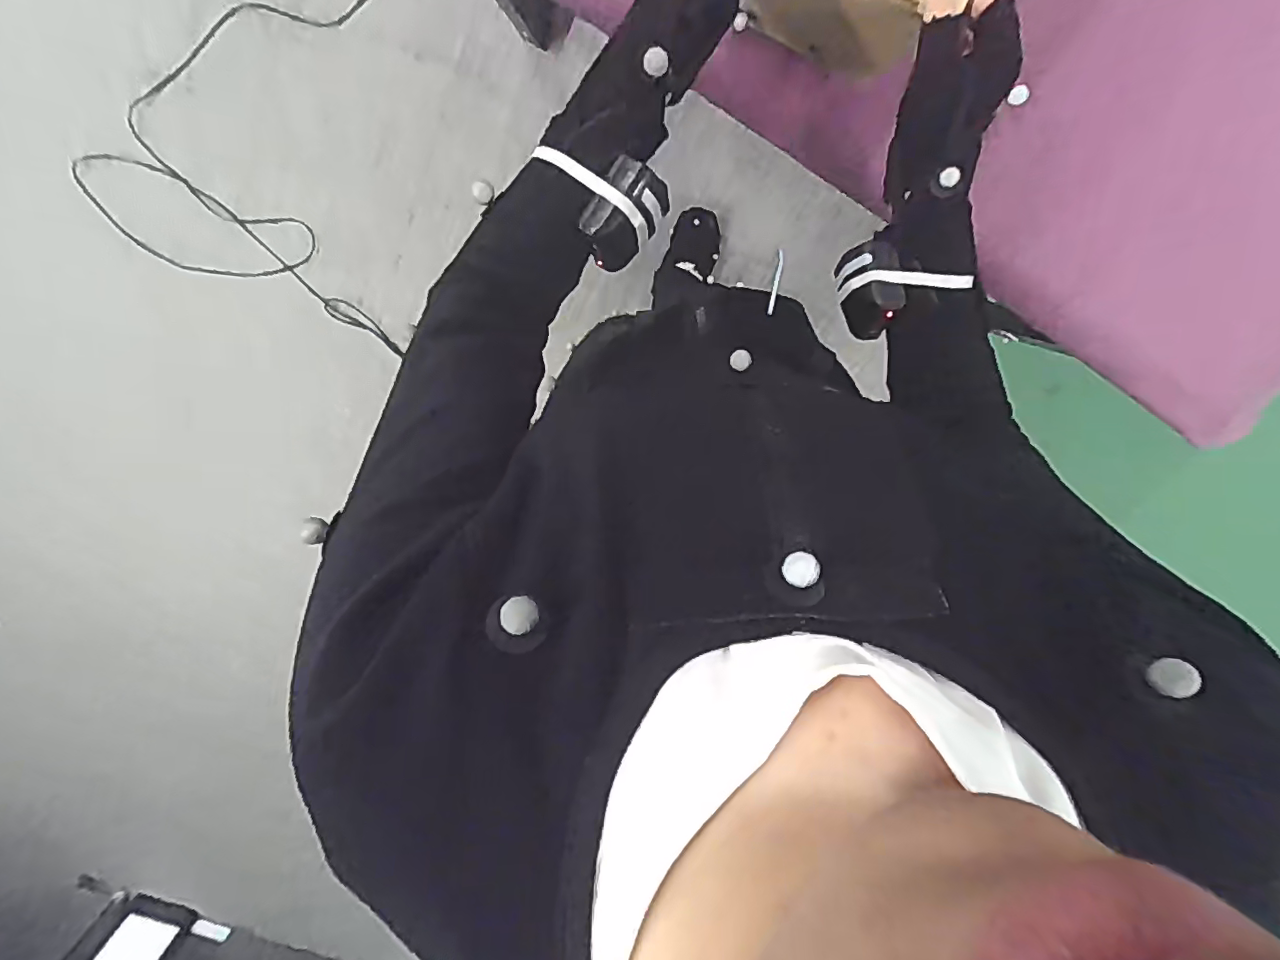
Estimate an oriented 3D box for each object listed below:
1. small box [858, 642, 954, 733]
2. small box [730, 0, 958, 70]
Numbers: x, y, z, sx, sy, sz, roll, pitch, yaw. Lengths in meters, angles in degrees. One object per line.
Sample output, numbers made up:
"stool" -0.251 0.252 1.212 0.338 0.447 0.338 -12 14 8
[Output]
"small box" 0.814 0.636 1.673 0.179 0.176 0.168 30 112 -8
"small box" 0.169 -0.452 0.405 0.168 0.176 0.179 18 113 -9
